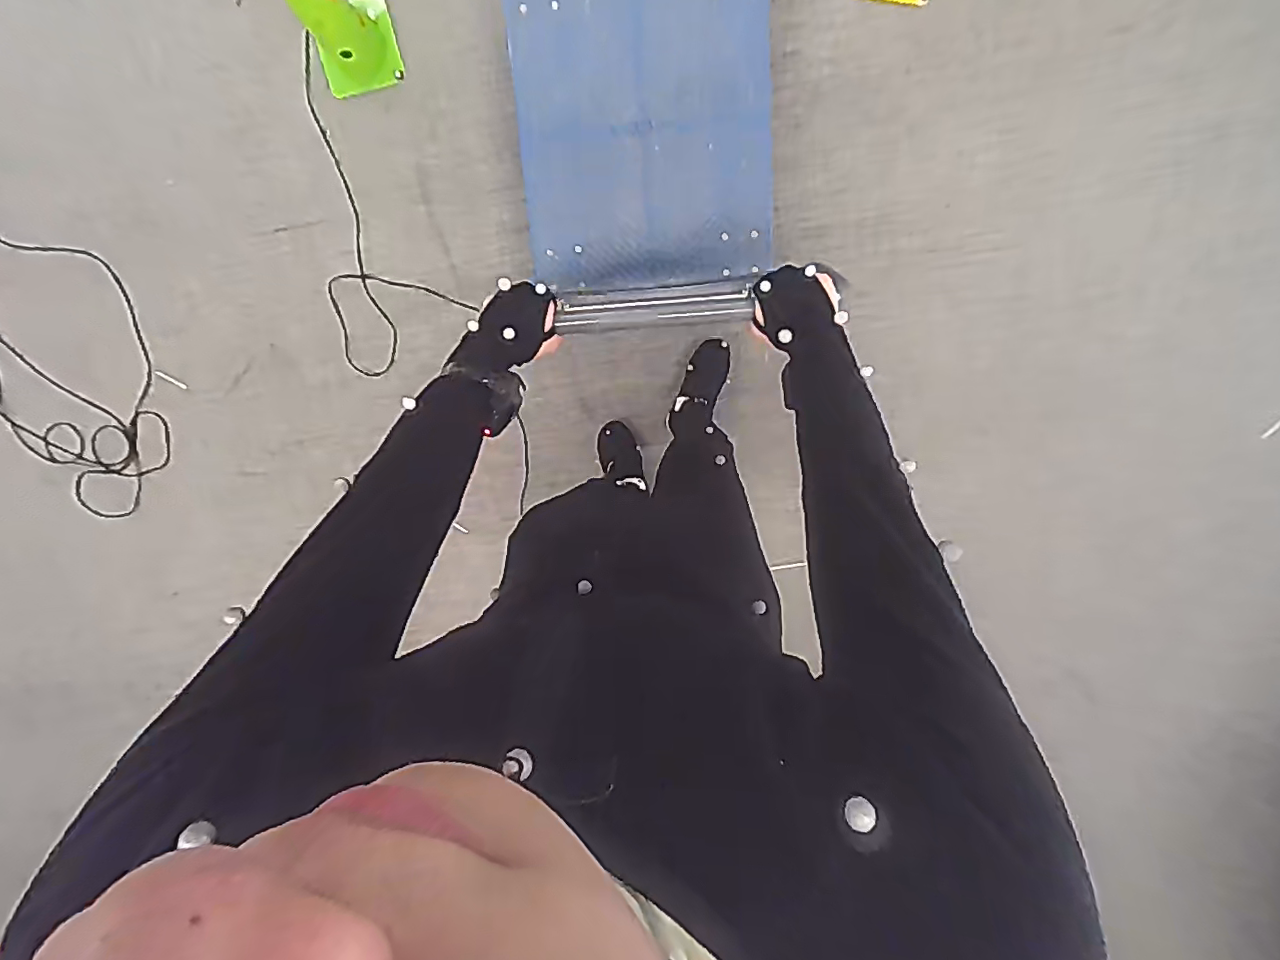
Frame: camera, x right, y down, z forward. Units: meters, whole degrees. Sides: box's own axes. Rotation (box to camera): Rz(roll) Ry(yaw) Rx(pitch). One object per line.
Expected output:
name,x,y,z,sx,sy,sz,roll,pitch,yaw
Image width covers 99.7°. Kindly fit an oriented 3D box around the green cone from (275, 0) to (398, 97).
green cone,-0.727,-1.042,1.175,0.202,0.368,0.200,-12,103,6
